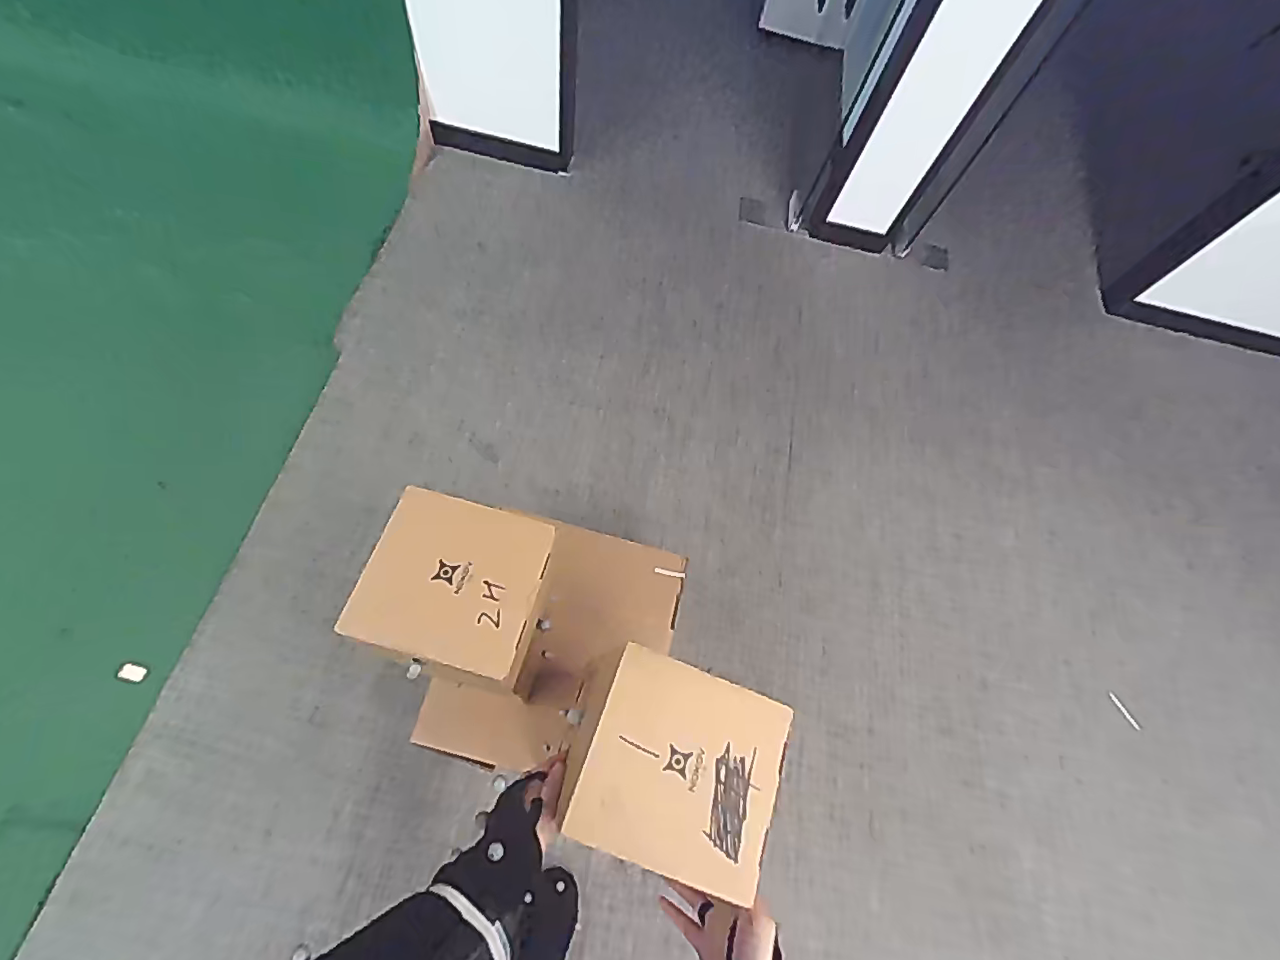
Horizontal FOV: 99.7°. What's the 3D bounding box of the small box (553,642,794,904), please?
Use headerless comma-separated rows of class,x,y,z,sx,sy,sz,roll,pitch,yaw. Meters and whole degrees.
small box,0.024,0.281,0.549,0.179,0.176,0.168,23,64,-2

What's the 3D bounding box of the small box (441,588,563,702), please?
small box,-0.241,0.263,0.925,0.168,0.176,0.179,18,62,1

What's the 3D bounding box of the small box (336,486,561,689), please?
small box,-0.199,0.133,0.624,0.179,0.176,0.168,16,63,0

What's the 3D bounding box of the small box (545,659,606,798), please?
small box,-0.018,0.359,0.733,0.179,0.176,0.168,20,63,0
